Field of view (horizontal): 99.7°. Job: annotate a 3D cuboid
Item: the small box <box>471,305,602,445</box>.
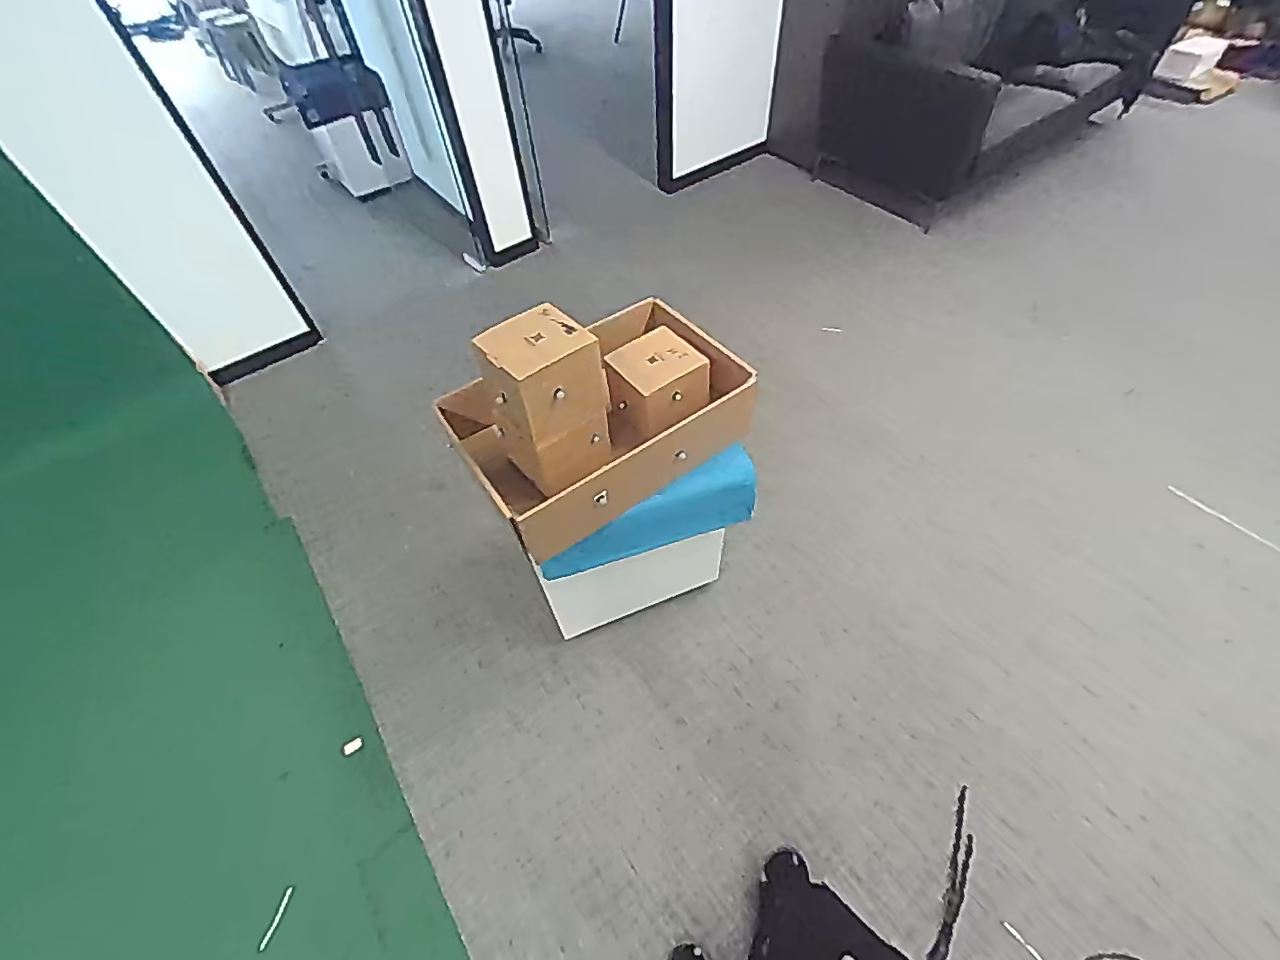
[{"bbox_3d":[-0.190,-0.199,1.043,0.179,0.176,0.168,-35,58,-22],"label":"small box"}]
